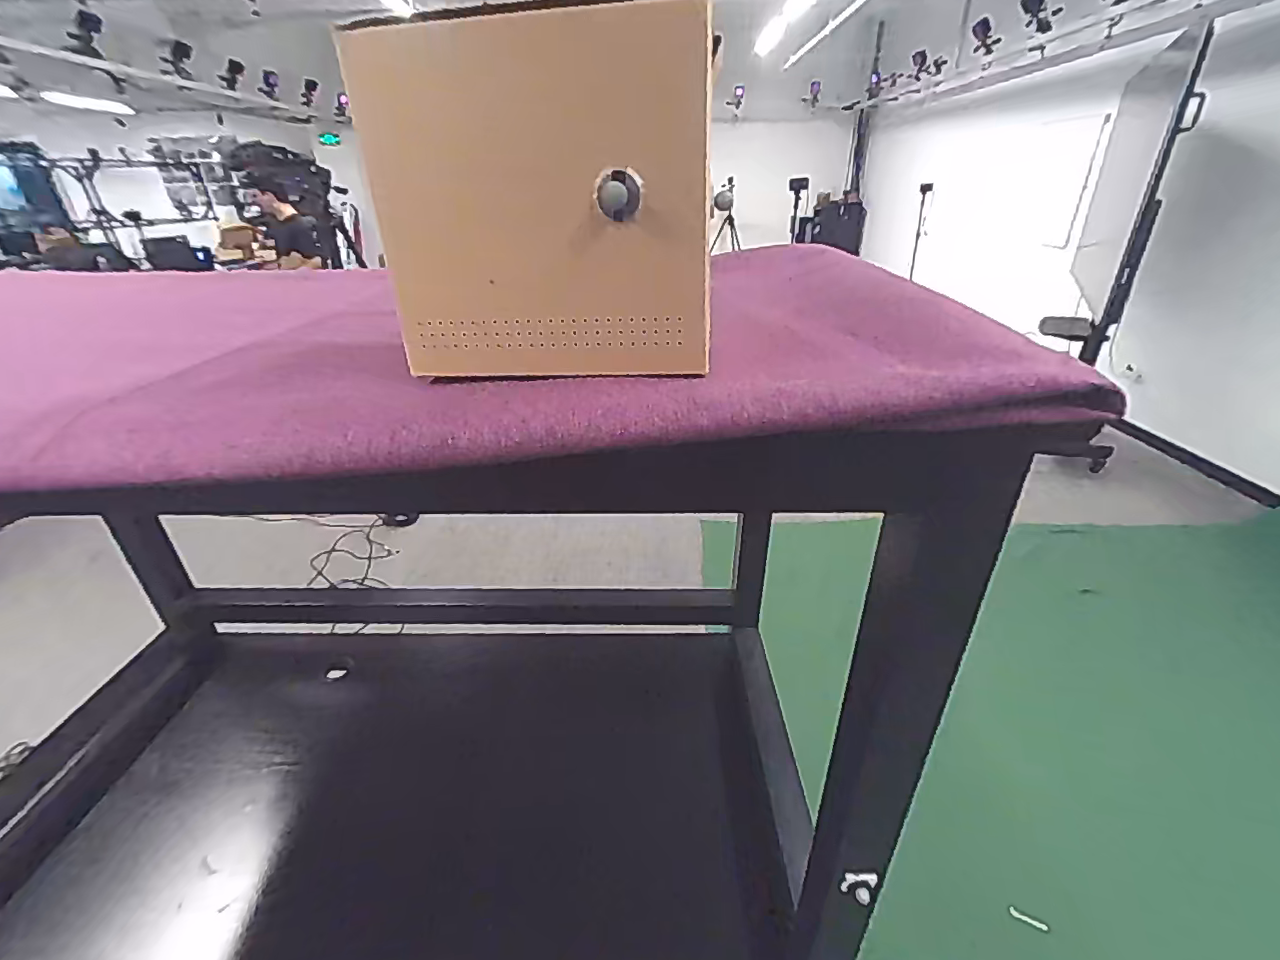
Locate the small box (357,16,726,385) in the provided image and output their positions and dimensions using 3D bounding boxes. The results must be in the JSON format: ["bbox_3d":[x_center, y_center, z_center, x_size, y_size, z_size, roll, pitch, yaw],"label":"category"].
[{"bbox_3d":[-0.037,-0.163,0.351,0.179,0.176,0.168,0,25,7],"label":"small box"}]
